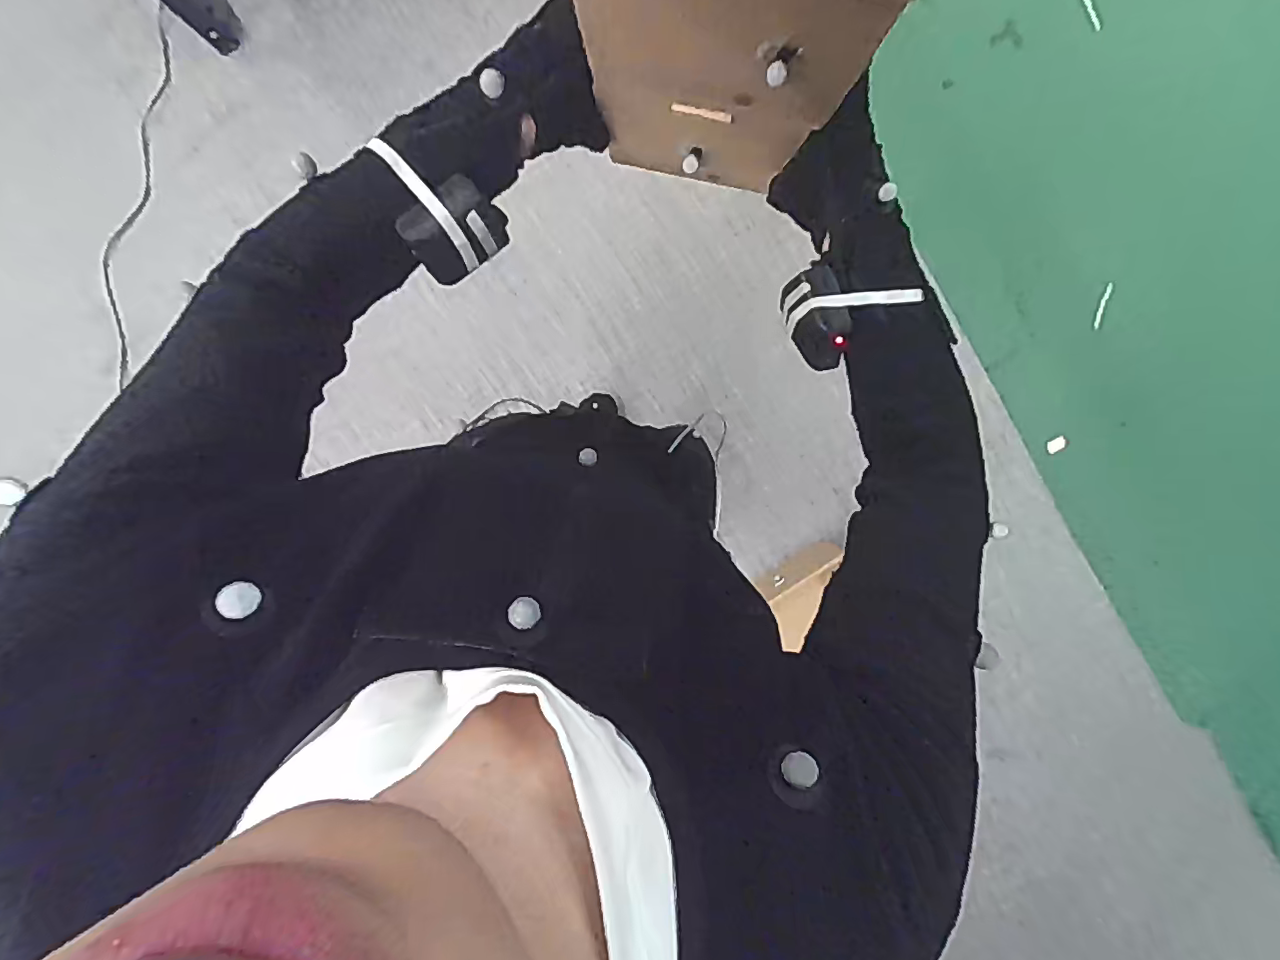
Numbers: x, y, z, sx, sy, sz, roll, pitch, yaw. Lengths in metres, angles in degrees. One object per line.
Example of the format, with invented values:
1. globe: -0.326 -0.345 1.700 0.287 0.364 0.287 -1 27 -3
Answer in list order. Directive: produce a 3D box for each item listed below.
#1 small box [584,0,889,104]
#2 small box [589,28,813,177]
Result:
1. small box: 0.060 -0.326 0.269 0.168 0.176 0.179 11 104 0
2. small box: 0.060 -0.373 0.445 0.168 0.176 0.179 8 104 1
